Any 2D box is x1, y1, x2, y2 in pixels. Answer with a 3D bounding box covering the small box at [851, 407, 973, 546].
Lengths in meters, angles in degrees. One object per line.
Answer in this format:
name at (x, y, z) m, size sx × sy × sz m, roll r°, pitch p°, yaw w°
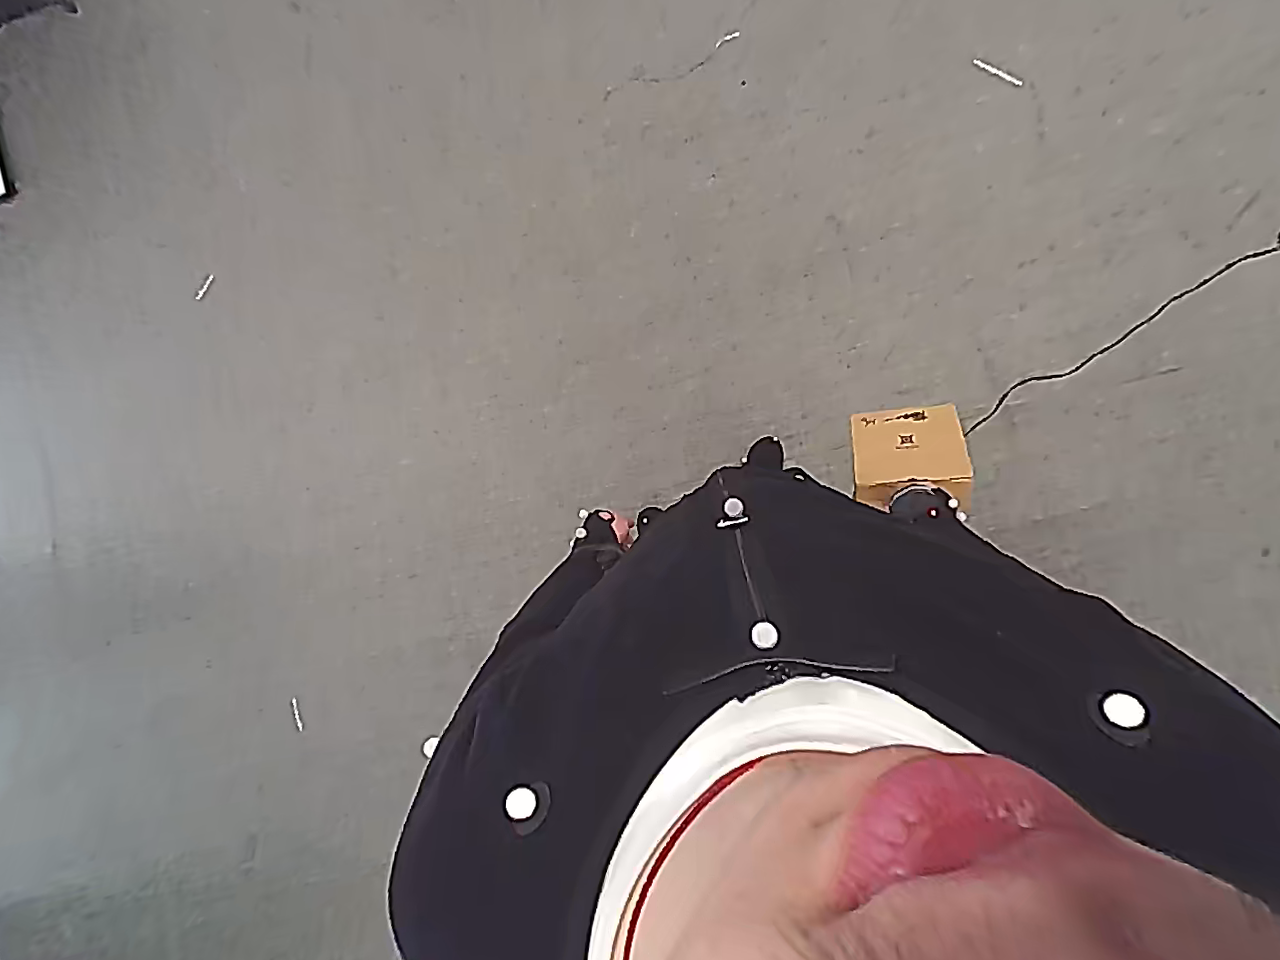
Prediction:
small box at (0.464, 0.002, 0.938) m, size 0.168 × 0.179 × 0.176 m, roll -6°, pitch 135°, yaw 21°
